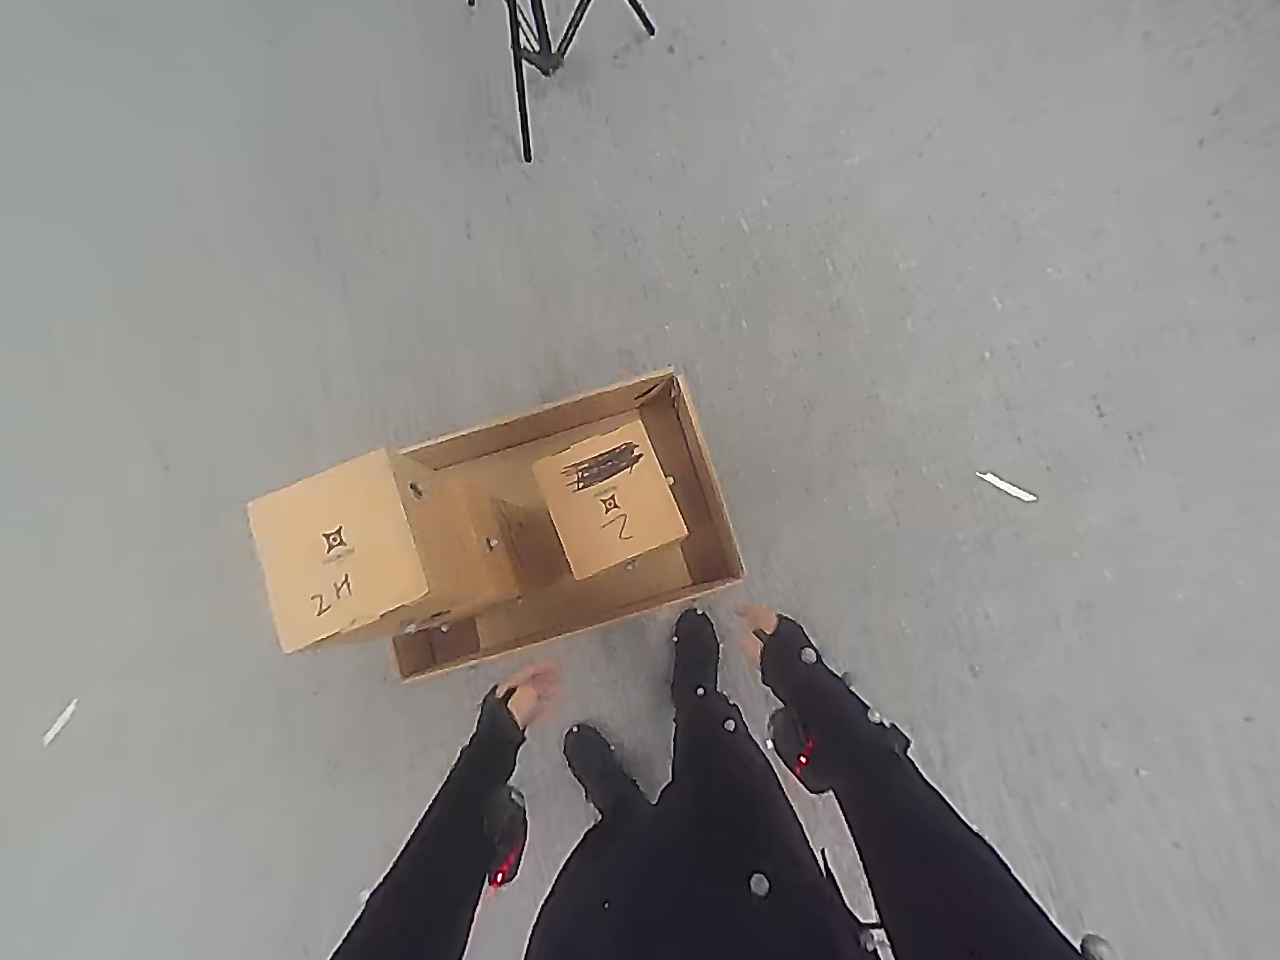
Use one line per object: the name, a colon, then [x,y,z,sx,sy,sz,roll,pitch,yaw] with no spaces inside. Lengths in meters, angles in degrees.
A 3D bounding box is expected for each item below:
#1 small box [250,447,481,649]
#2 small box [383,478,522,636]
small box: [-0.316,0.085,0.653,0.168,0.176,0.179,-22,79,-1]
small box: [-0.294,0.116,0.815,0.168,0.176,0.179,-20,79,-1]
